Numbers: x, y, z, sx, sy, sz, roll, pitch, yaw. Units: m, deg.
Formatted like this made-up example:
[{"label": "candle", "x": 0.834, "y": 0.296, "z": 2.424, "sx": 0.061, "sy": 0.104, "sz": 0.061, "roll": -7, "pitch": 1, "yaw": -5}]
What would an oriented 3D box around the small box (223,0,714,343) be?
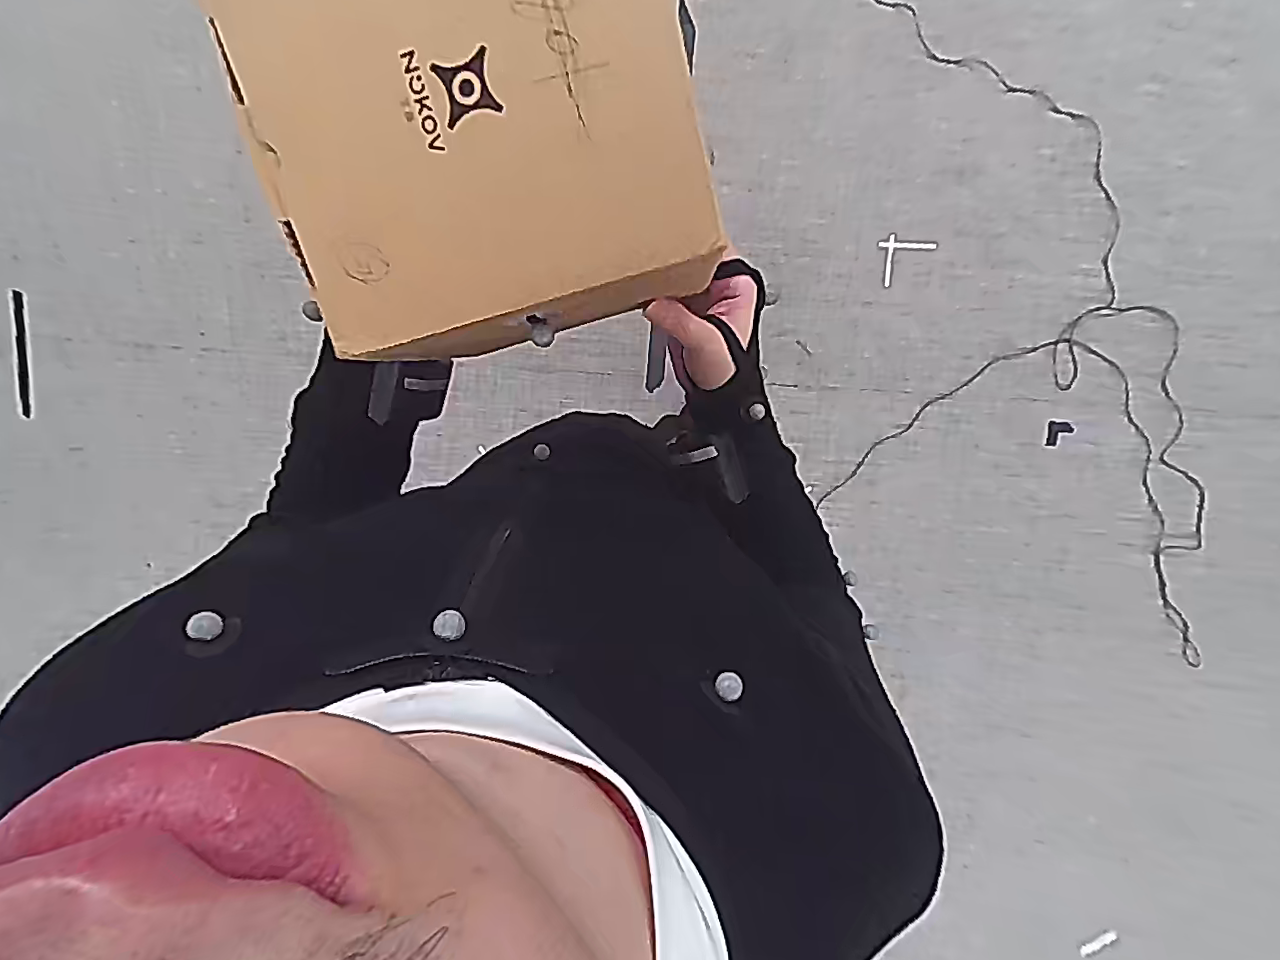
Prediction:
[{"label": "small box", "x": -0.065, "y": -0.177, "z": 0.300, "sx": 0.179, "sy": 0.176, "sz": 0.168, "roll": -15, "pitch": 103, "yaw": 7}]
